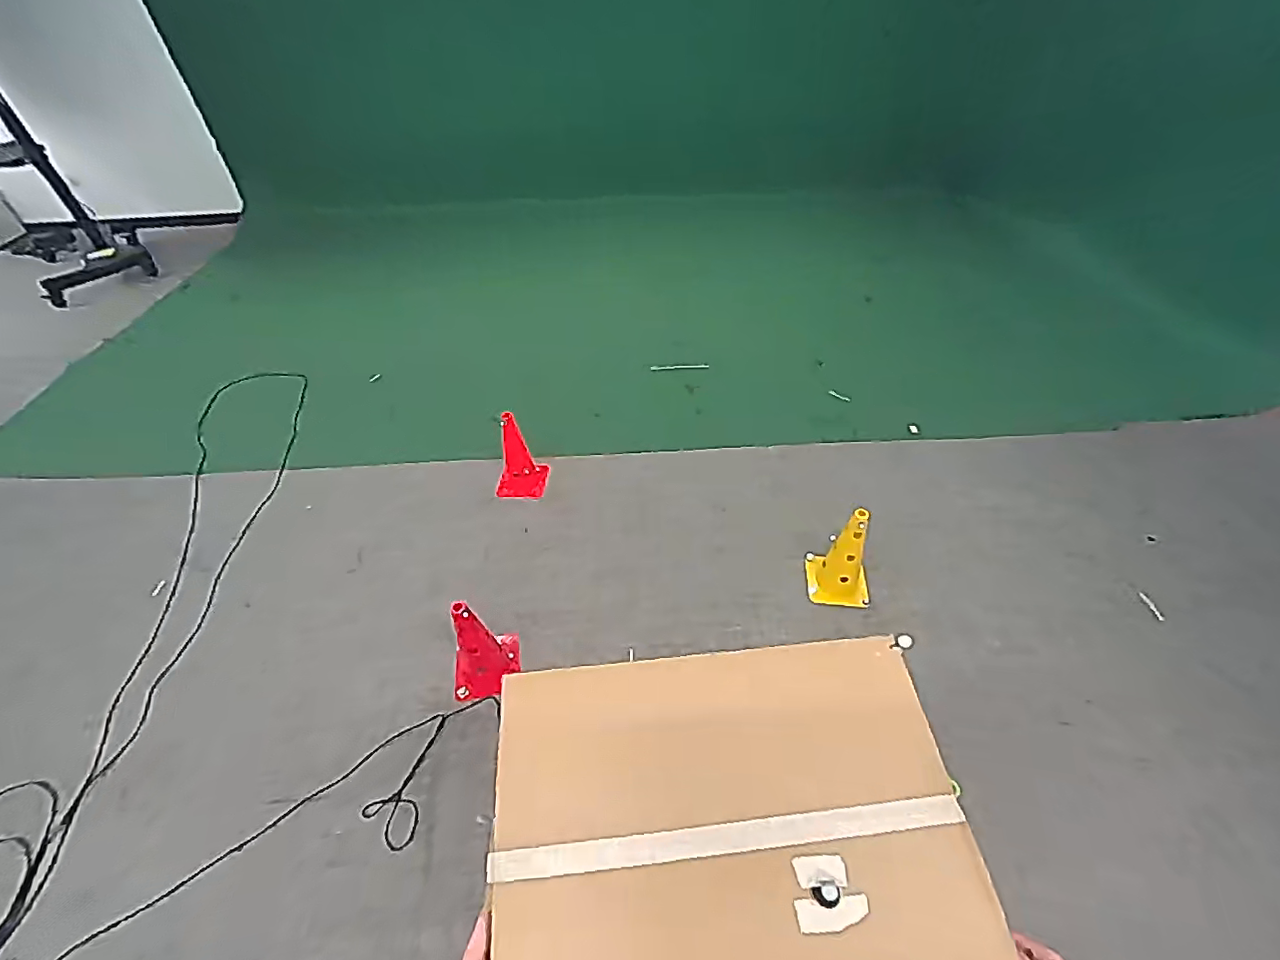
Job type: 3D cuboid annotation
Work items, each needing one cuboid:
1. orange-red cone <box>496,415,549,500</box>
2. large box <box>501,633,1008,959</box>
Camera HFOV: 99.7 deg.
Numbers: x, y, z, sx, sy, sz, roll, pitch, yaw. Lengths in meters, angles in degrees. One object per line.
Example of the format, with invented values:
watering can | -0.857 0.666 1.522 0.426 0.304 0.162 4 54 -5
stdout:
orange-red cone | -0.505 -0.111 2.176 0.199 0.360 0.198 2 44 6
large box | 0.077 0.393 0.596 0.408 0.320 0.320 -5 55 -4
